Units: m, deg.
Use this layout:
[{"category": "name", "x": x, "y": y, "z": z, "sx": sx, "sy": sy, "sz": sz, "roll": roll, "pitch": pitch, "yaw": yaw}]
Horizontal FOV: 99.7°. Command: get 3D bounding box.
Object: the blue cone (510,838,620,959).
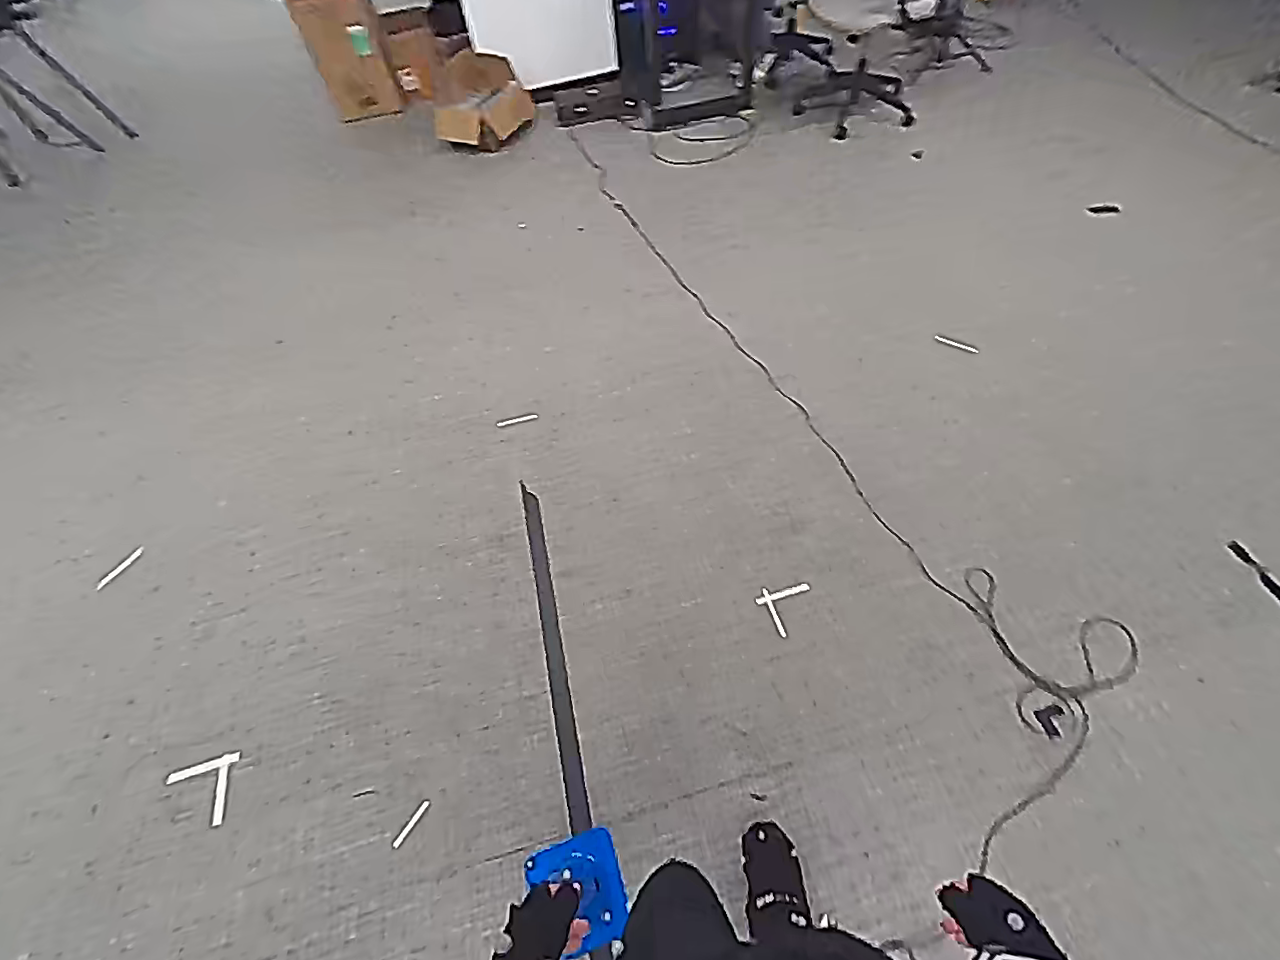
[{"category": "blue cone", "x": -0.164, "y": 0.799, "z": 1.018, "sx": 0.192, "sy": 0.380, "sz": 0.193, "roll": -18, "pitch": 55, "yaw": -5}]
